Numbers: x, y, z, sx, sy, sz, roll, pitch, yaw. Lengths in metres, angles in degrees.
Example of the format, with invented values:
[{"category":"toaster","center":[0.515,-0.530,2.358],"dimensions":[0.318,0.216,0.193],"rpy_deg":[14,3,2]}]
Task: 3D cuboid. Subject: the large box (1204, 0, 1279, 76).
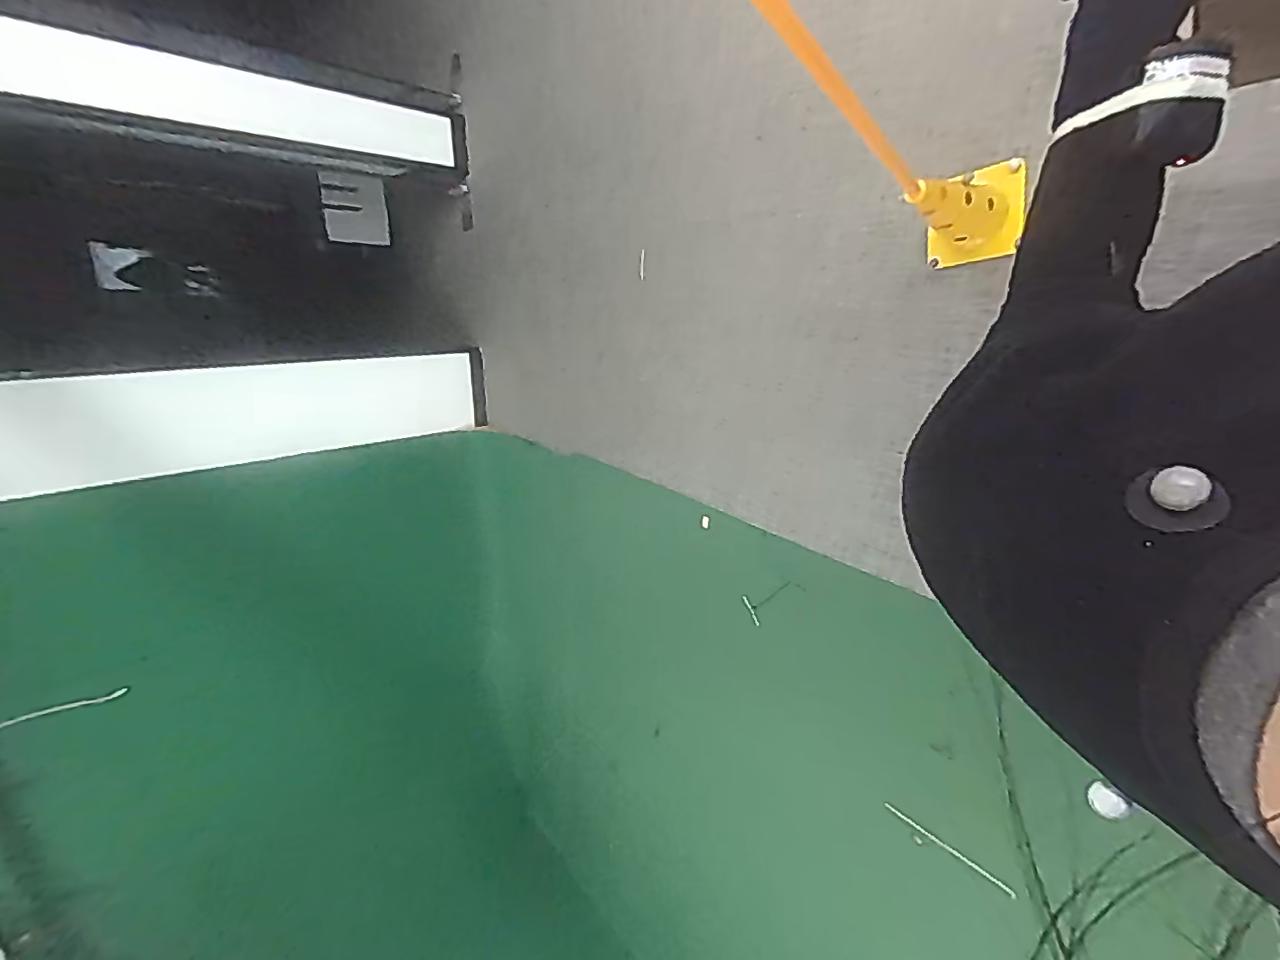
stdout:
[{"category":"large box","center":[0.597,-0.471,0.262],"dimensions":[0.408,0.320,0.320],"rpy_deg":[14,114,44]}]
